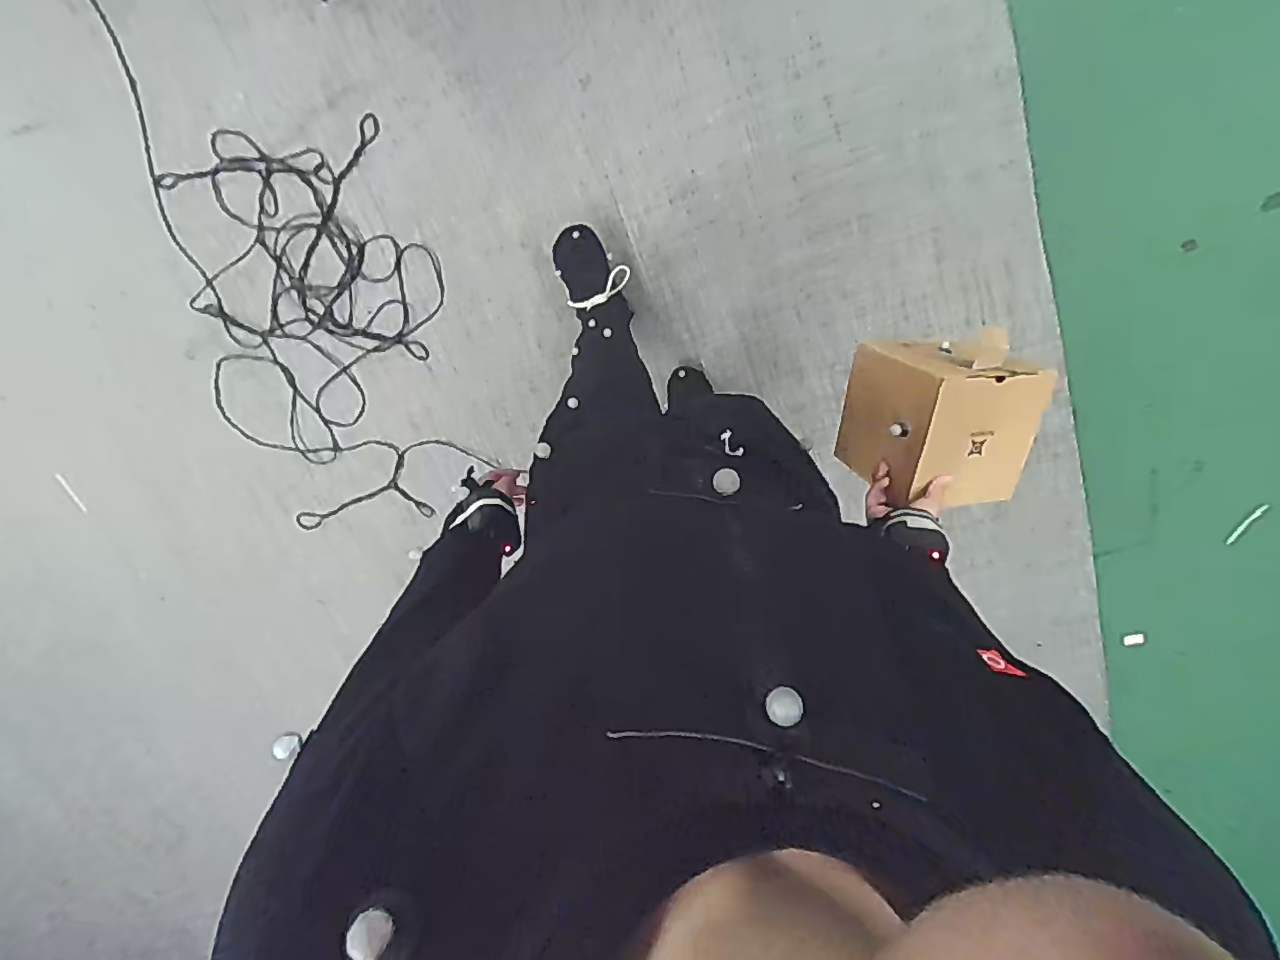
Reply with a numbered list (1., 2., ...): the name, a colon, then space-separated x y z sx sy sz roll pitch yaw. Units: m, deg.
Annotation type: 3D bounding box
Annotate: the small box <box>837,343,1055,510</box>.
1. small box: 0.391 -0.078 0.727 0.168 0.176 0.179 -4 116 -14
